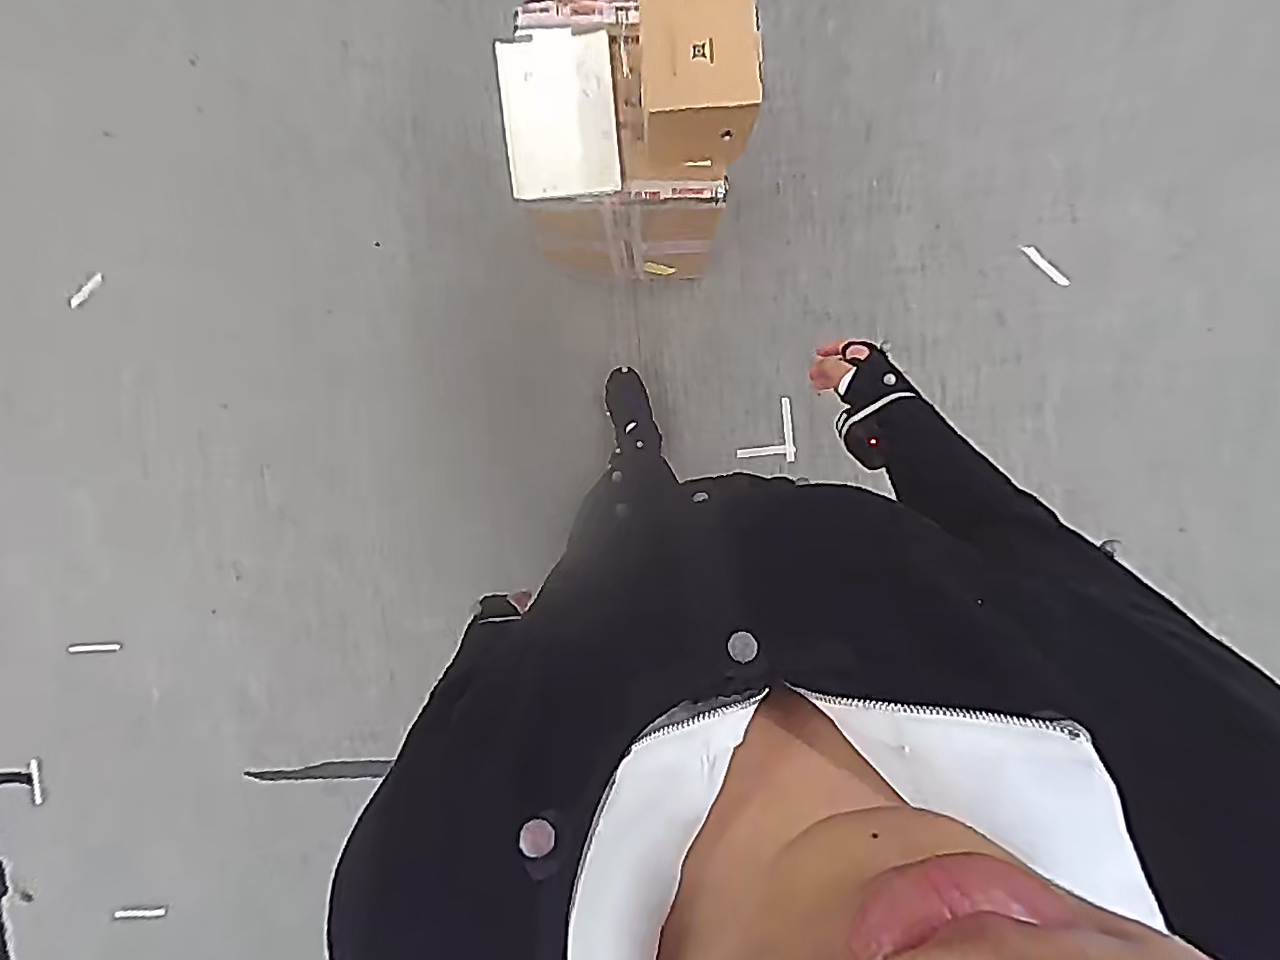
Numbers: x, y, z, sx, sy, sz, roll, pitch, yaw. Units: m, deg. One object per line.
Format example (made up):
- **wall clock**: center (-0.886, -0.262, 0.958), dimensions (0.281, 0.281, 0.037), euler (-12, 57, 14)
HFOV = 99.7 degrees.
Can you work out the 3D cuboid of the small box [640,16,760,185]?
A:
- **small box**: center (0.092, -0.619, 0.901), dimensions (0.179, 0.176, 0.168), euler (-5, 94, 1)
